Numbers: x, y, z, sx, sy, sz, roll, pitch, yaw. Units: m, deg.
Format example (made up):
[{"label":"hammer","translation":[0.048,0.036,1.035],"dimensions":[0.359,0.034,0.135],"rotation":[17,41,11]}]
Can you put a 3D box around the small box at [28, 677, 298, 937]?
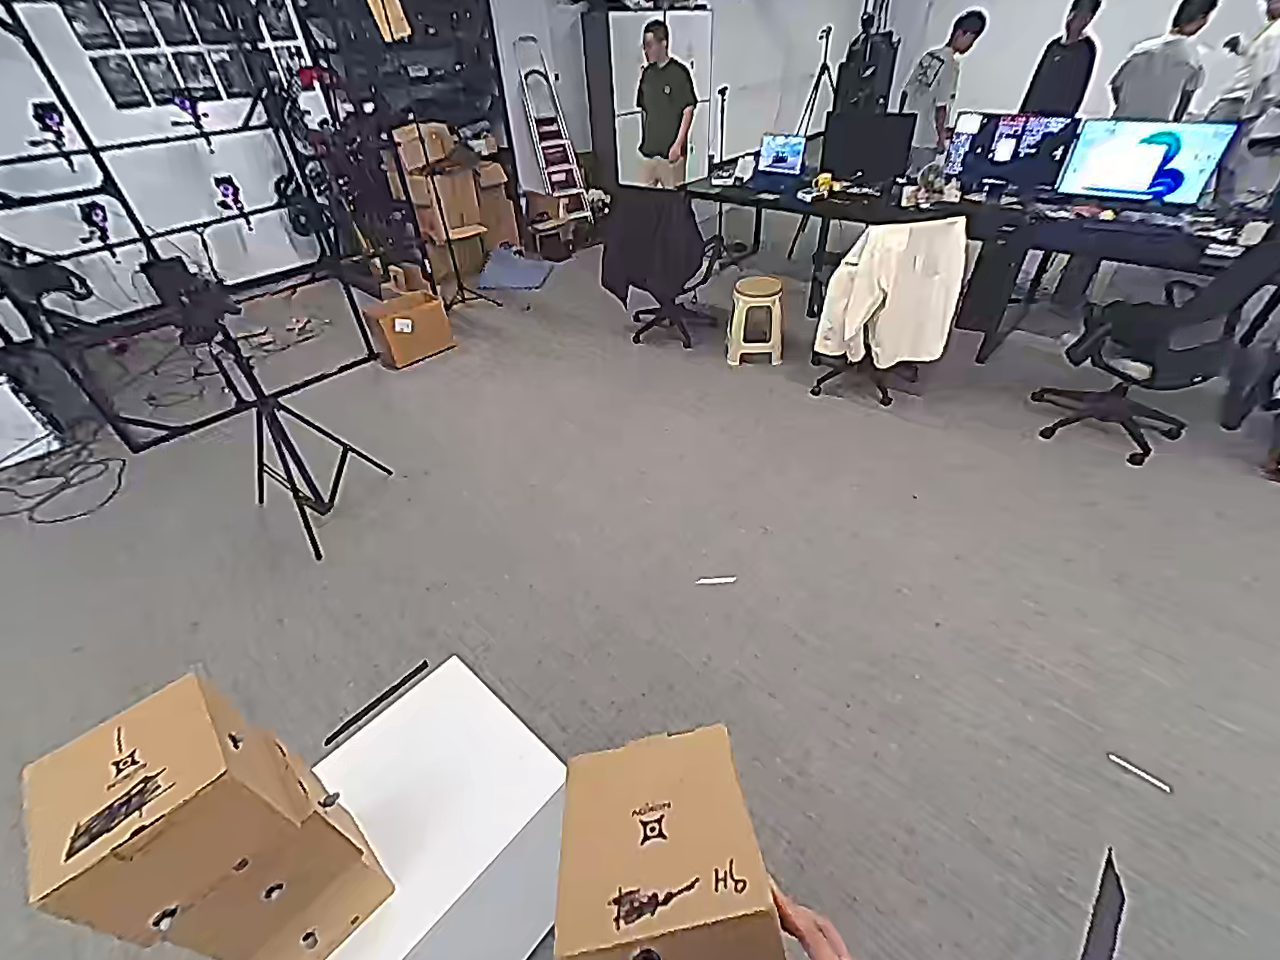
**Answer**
[{"label":"small box","translation":[-0.535,0.375,0.624],"dimensions":[0.168,0.176,0.179],"rotation":[-34,47,-31]}]

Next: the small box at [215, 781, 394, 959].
[{"label":"small box","translation":[-0.516,0.623,0.840],"dimensions":[0.179,0.176,0.168],"rotation":[28,49,33]}]

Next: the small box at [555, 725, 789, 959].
[{"label":"small box","translation":[0.032,0.366,0.492],"dimensions":[0.168,0.176,0.179],"rotation":[-14,20,2]}]
